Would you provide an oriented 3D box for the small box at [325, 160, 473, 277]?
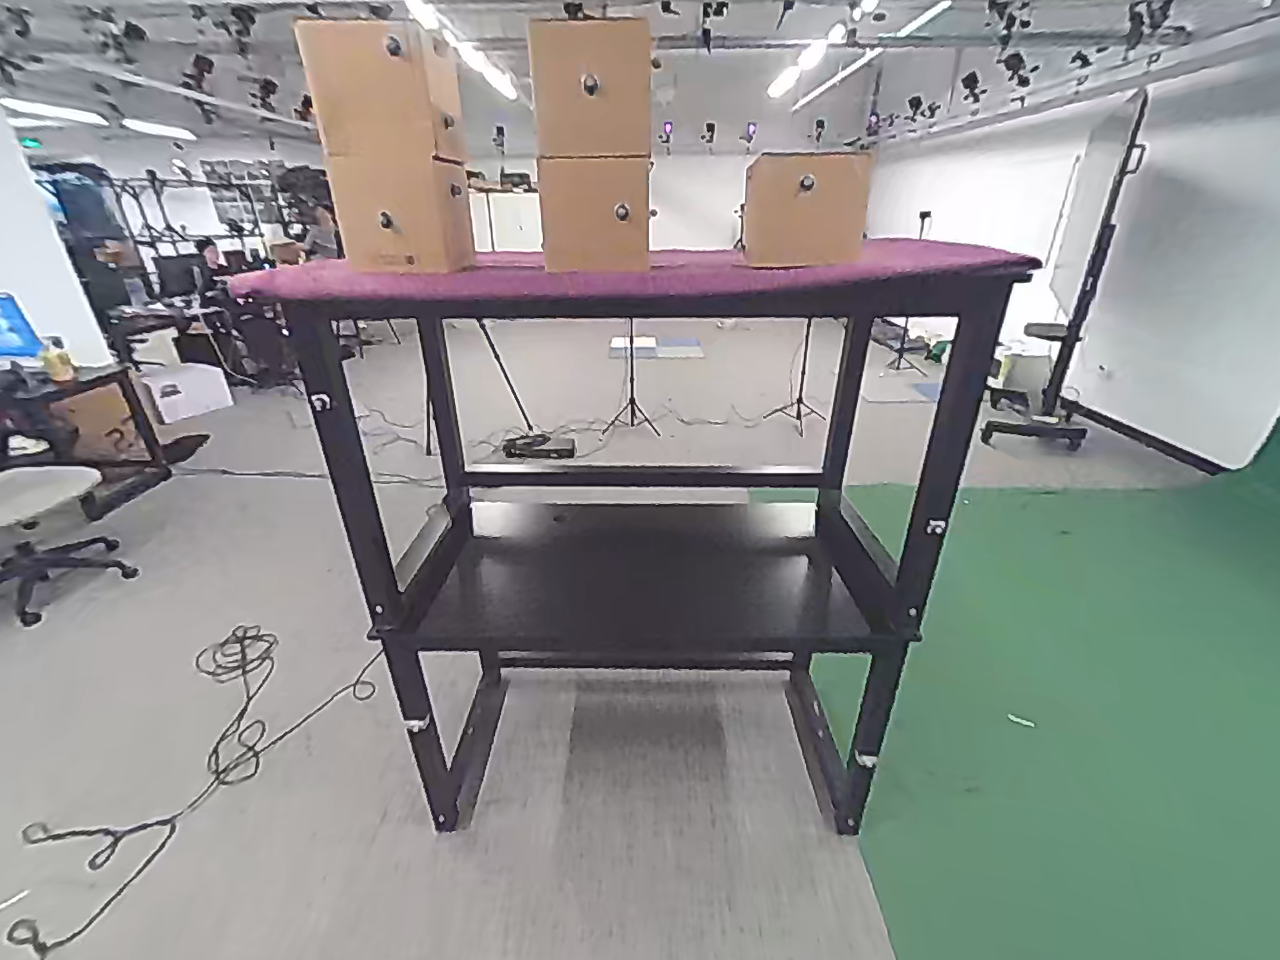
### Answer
[{"bbox_3d":[-0.394,-0.442,0.921,0.168,0.176,0.179,1,26,-1],"label":"small box"}]

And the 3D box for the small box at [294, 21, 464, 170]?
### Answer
[{"bbox_3d":[-0.392,-0.587,0.848,0.179,0.176,0.168,0,27,-1],"label":"small box"}]

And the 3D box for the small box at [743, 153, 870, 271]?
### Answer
[{"bbox_3d":[0.276,-0.457,0.942,0.179,0.176,0.168,0,24,2],"label":"small box"}]

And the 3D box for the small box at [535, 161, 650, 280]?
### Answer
[{"bbox_3d":[-0.072,-0.443,0.927,0.179,0.176,0.168,-1,26,0],"label":"small box"}]
